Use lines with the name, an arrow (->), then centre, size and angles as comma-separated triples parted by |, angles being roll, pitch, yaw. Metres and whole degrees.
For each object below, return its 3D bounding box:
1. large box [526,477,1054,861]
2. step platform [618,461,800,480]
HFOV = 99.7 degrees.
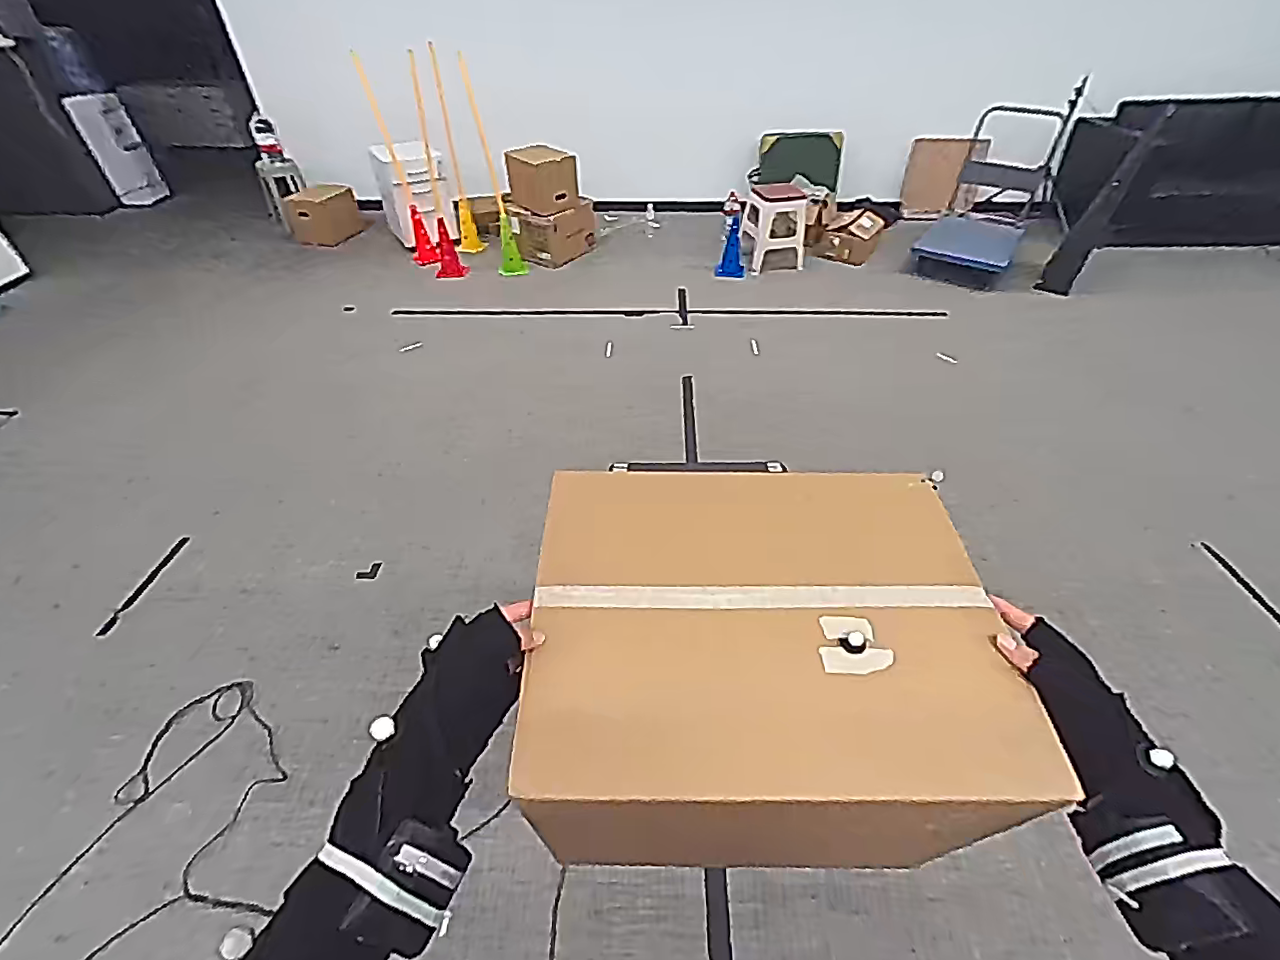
large box -> 0.107, 0.212, 0.605 | 0.408, 0.320, 0.320 | 0, 48, -1
step platform -> 0.249, 0.088, 1.960 | 0.684, 0.204, 0.286 | -1, 43, -2
